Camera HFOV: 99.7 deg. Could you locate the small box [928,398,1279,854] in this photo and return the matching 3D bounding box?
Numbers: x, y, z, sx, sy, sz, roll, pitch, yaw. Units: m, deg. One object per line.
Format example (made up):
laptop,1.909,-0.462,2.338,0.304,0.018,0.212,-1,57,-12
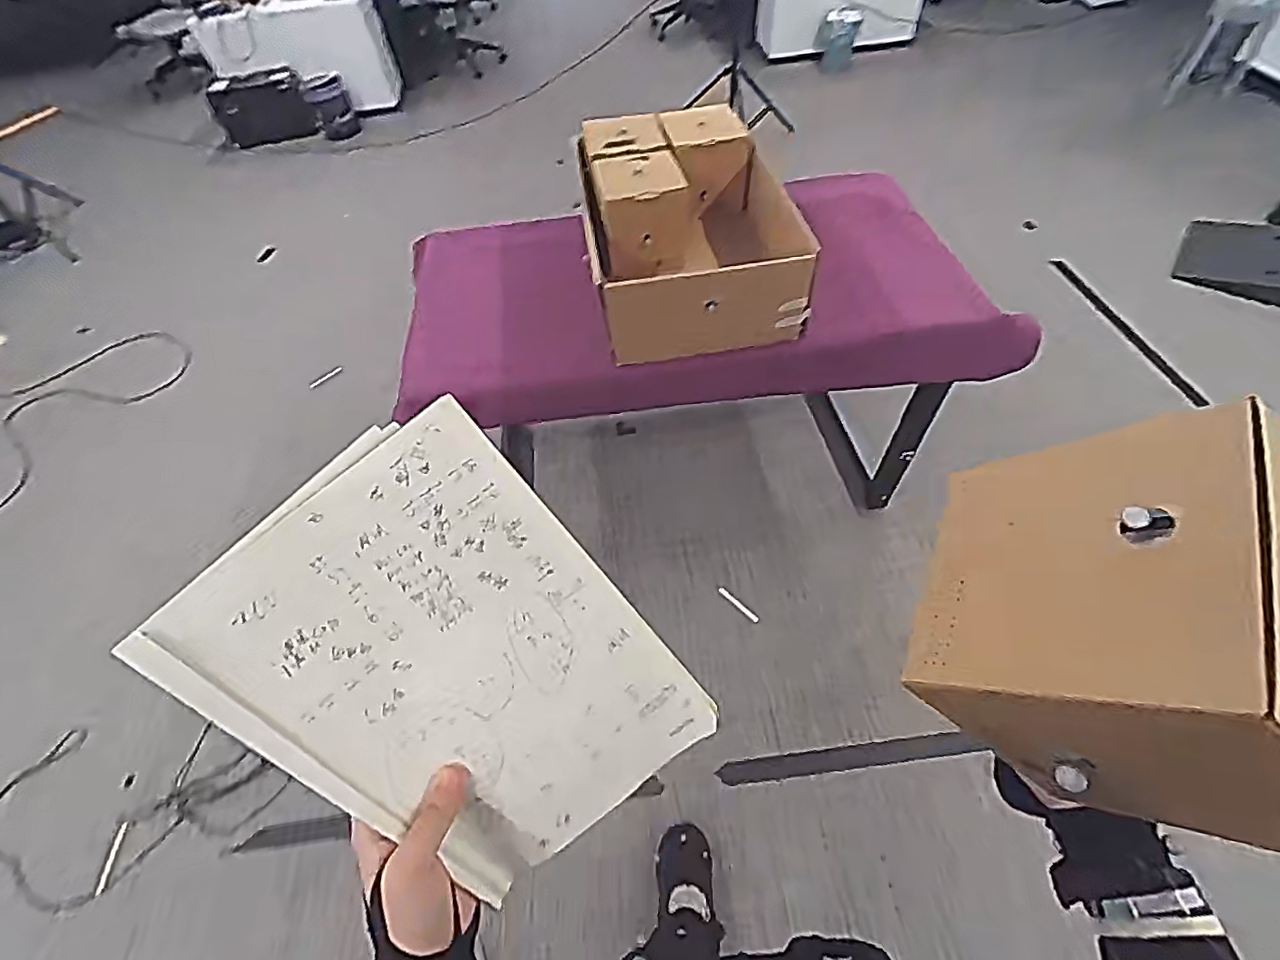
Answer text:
small box,0.308,0.089,0.323,0.168,0.176,0.179,38,64,-12
